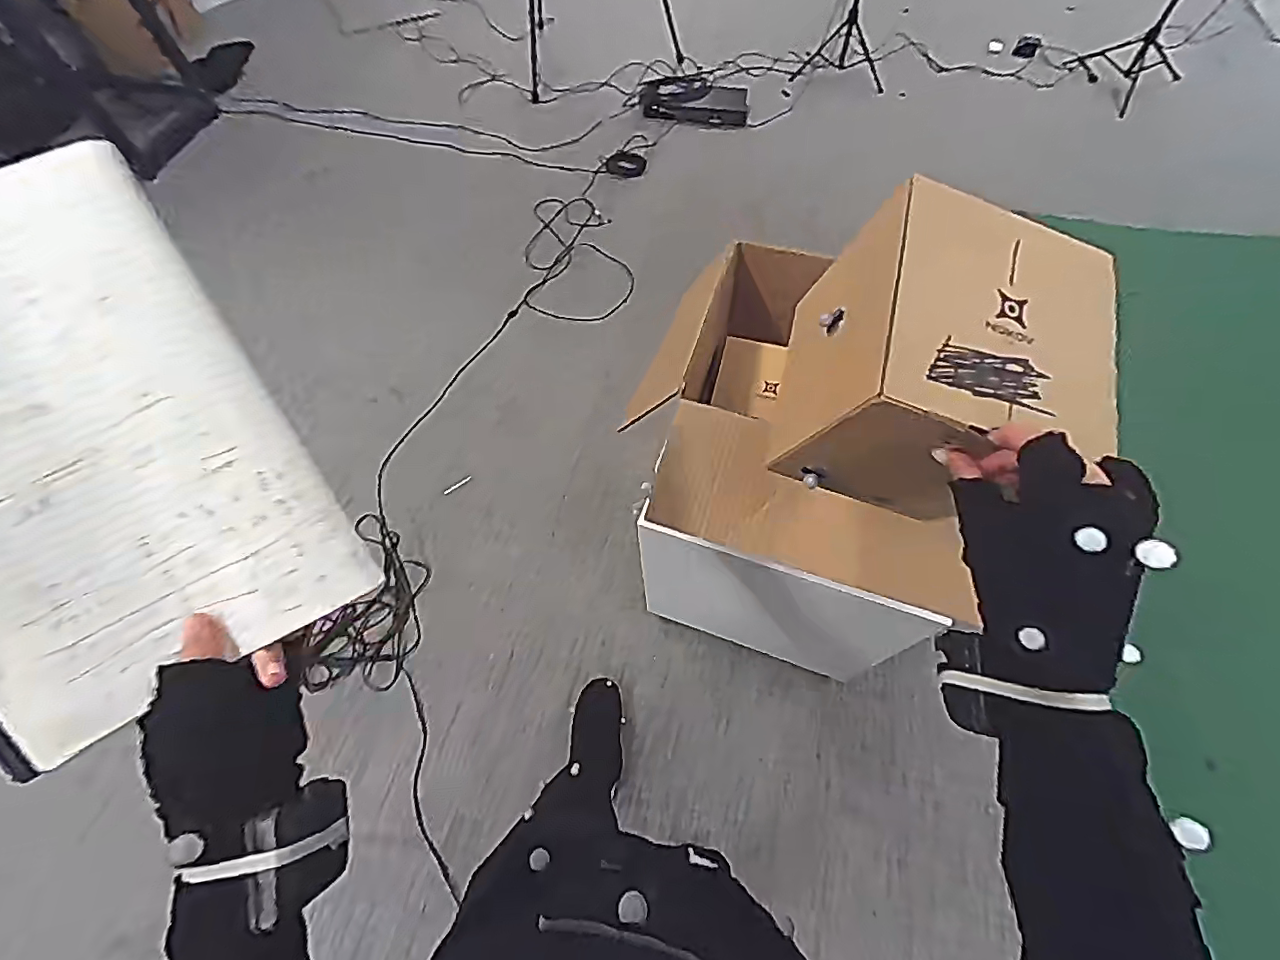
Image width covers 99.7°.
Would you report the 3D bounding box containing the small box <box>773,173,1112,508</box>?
[{"bbox_3d":[0.225,-0.091,0.435,0.168,0.176,0.179,18,72,-7],"label":"small box"}]
